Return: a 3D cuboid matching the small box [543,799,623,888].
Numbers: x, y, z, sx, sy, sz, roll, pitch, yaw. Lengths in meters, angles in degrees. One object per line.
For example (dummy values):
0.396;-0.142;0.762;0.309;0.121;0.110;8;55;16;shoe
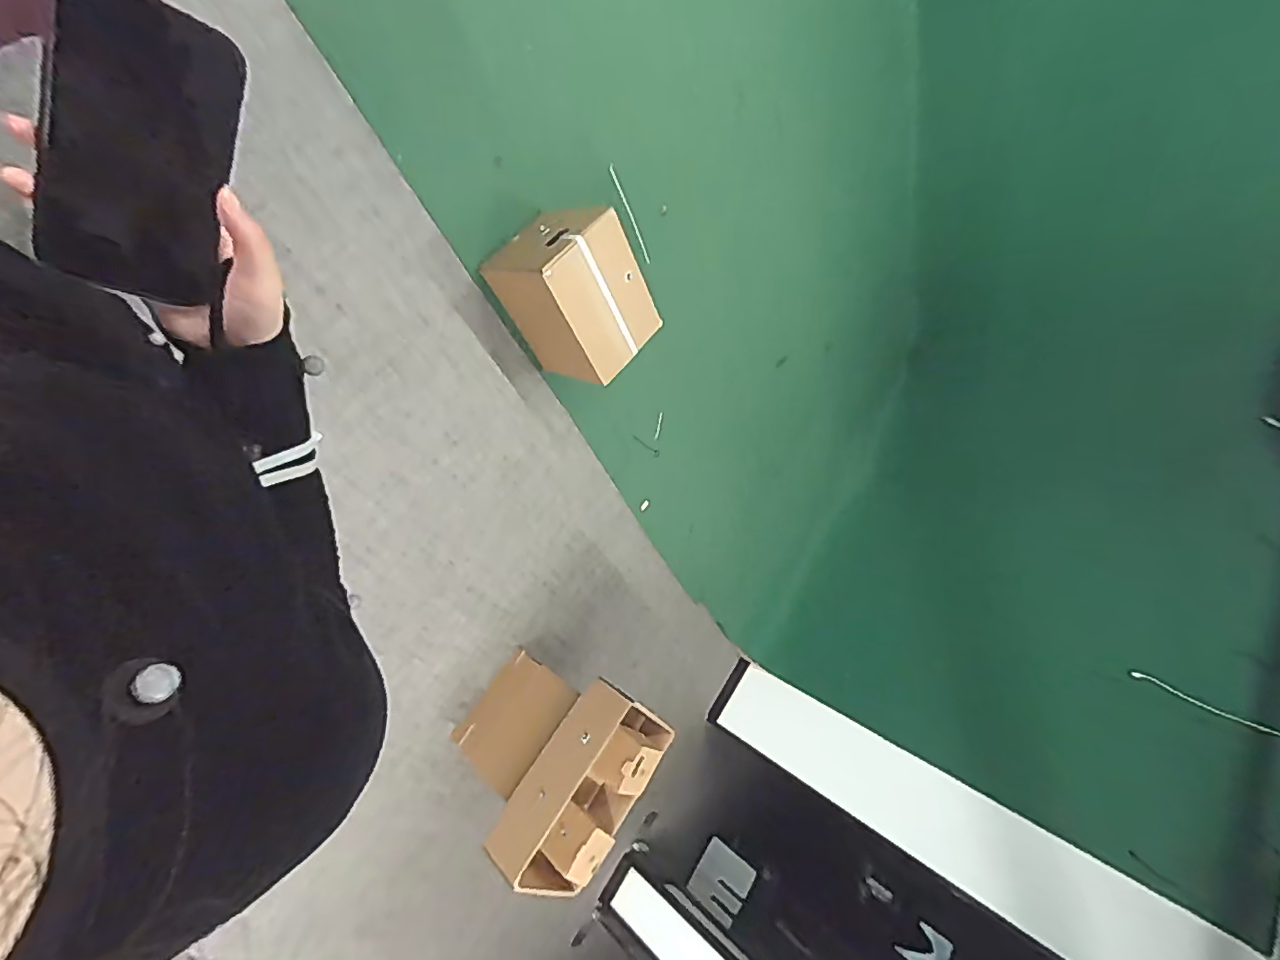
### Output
-0.194;1.206;1.804;0.168;0.176;0.179;-47;134;-24;small box
